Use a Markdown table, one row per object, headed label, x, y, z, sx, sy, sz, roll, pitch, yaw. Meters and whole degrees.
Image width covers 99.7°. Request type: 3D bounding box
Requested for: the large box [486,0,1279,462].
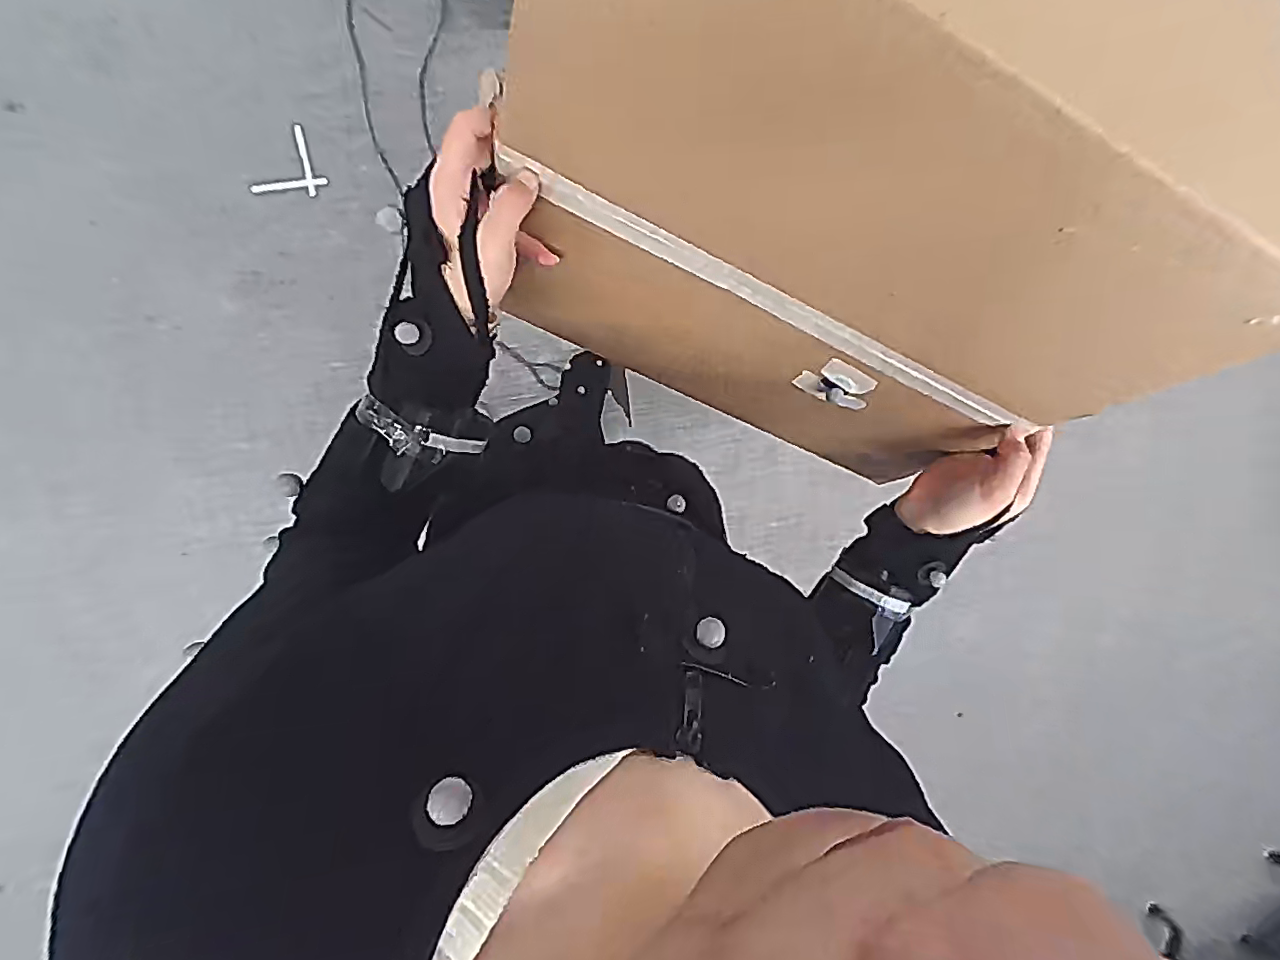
| label | x | y | z | sx | sy | sz | roll | pitch | yaw |
| --- | --- | --- | --- | --- | --- | --- | --- | --- | --- |
| large box | 0.133 | -0.258 | 0.404 | 0.408 | 0.320 | 0.320 | 21 | 71 | -12 |
